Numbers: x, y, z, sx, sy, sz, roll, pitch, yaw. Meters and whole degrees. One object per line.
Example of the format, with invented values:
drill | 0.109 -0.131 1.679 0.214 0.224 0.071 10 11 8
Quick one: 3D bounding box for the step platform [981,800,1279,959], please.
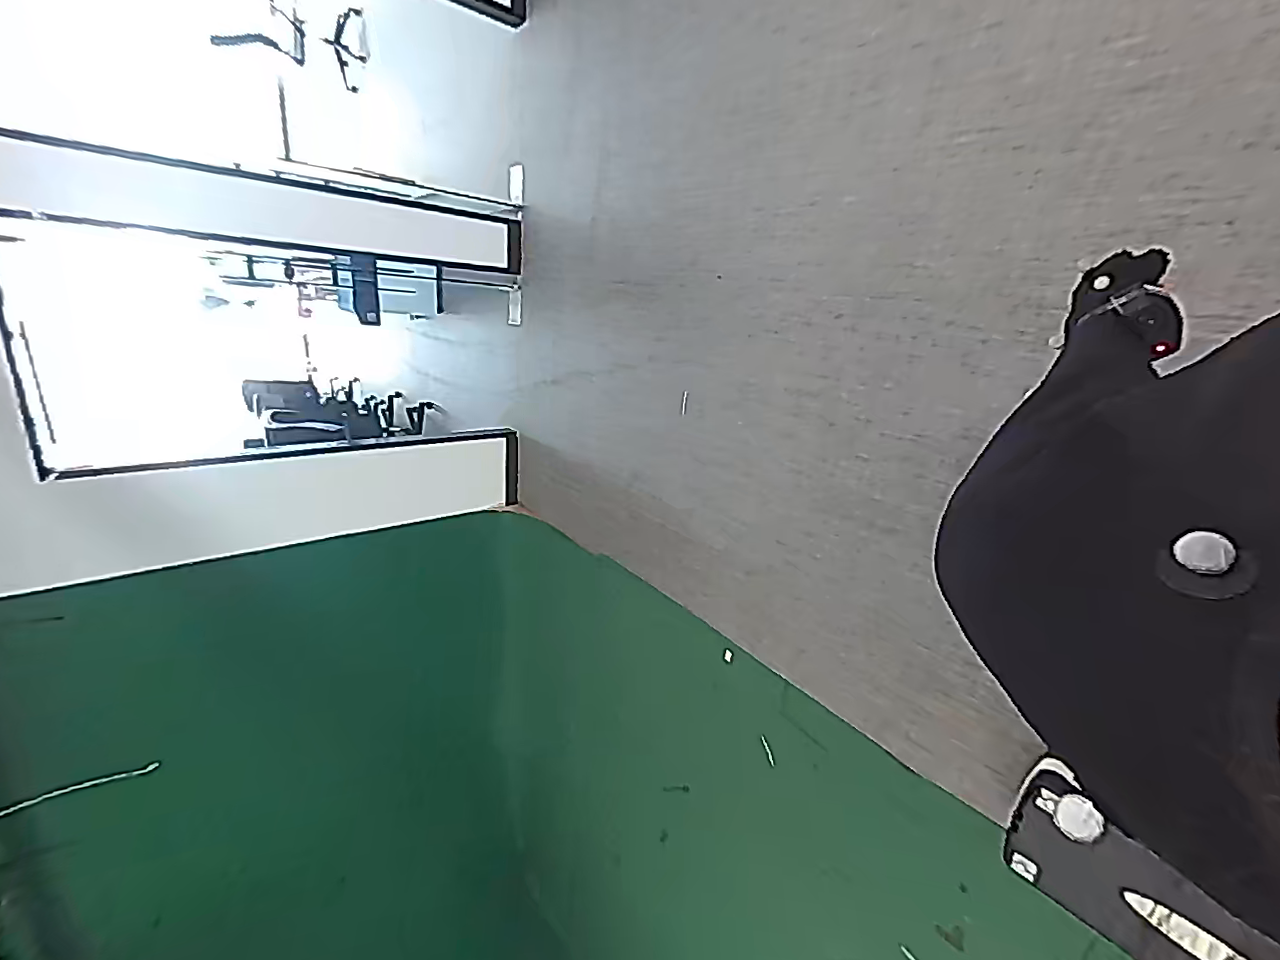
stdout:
step platform | 1.016 0.915 0.940 0.684 0.204 0.286 24 116 45
